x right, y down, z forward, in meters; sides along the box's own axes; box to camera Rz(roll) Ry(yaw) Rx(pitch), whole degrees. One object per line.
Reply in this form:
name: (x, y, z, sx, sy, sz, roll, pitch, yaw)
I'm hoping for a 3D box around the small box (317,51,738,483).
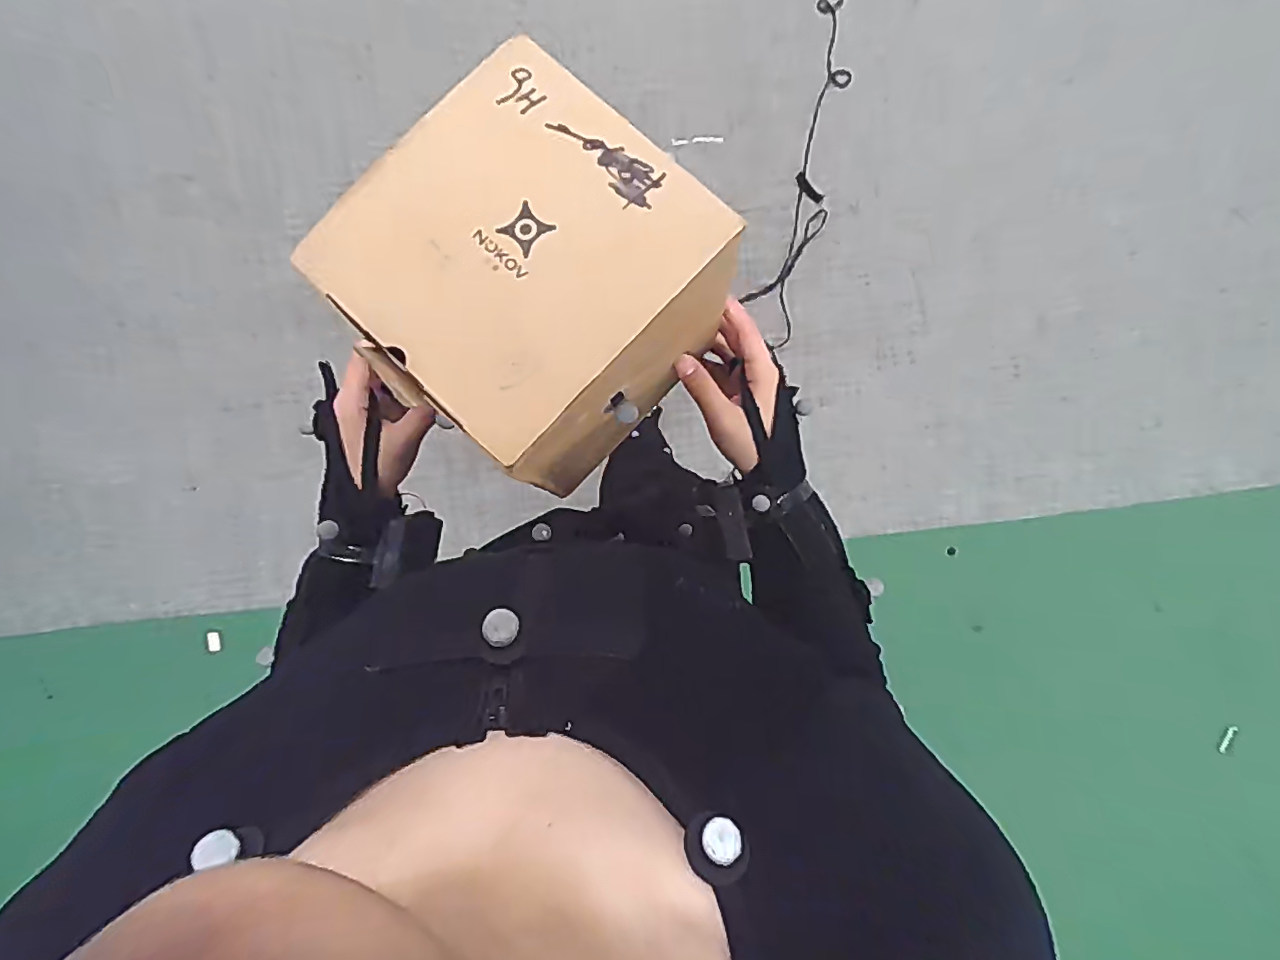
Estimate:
small box: (-0.057, -0.115, 0.369, 0.168, 0.176, 0.179, 43, 87, 6)
